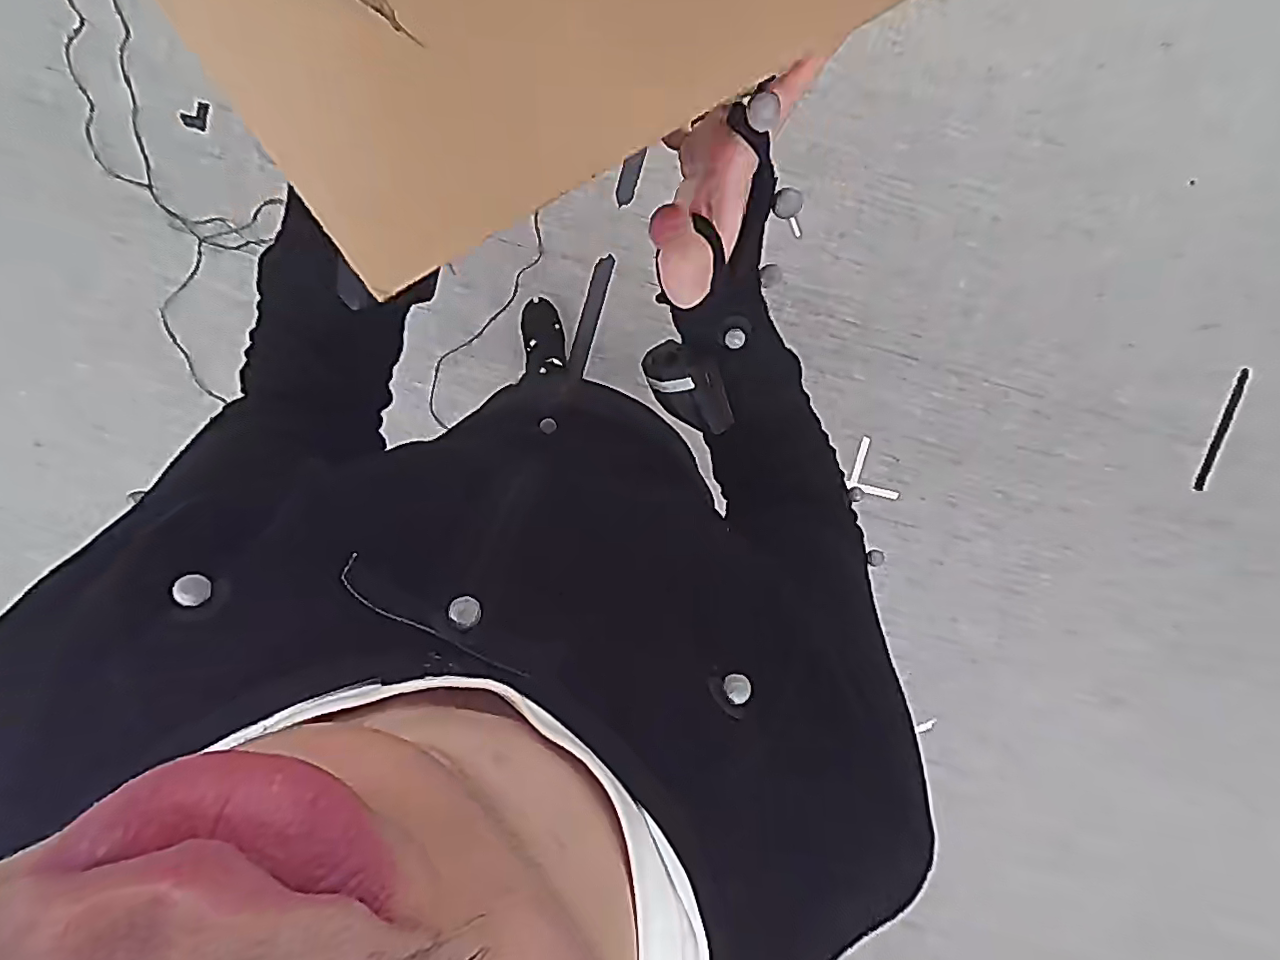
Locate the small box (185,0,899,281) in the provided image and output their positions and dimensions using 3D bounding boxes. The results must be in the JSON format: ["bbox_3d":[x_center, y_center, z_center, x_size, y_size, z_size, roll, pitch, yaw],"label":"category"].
[{"bbox_3d":[-0.037,-0.196,0.178,0.179,0.176,0.168,-23,118,13],"label":"small box"}]
